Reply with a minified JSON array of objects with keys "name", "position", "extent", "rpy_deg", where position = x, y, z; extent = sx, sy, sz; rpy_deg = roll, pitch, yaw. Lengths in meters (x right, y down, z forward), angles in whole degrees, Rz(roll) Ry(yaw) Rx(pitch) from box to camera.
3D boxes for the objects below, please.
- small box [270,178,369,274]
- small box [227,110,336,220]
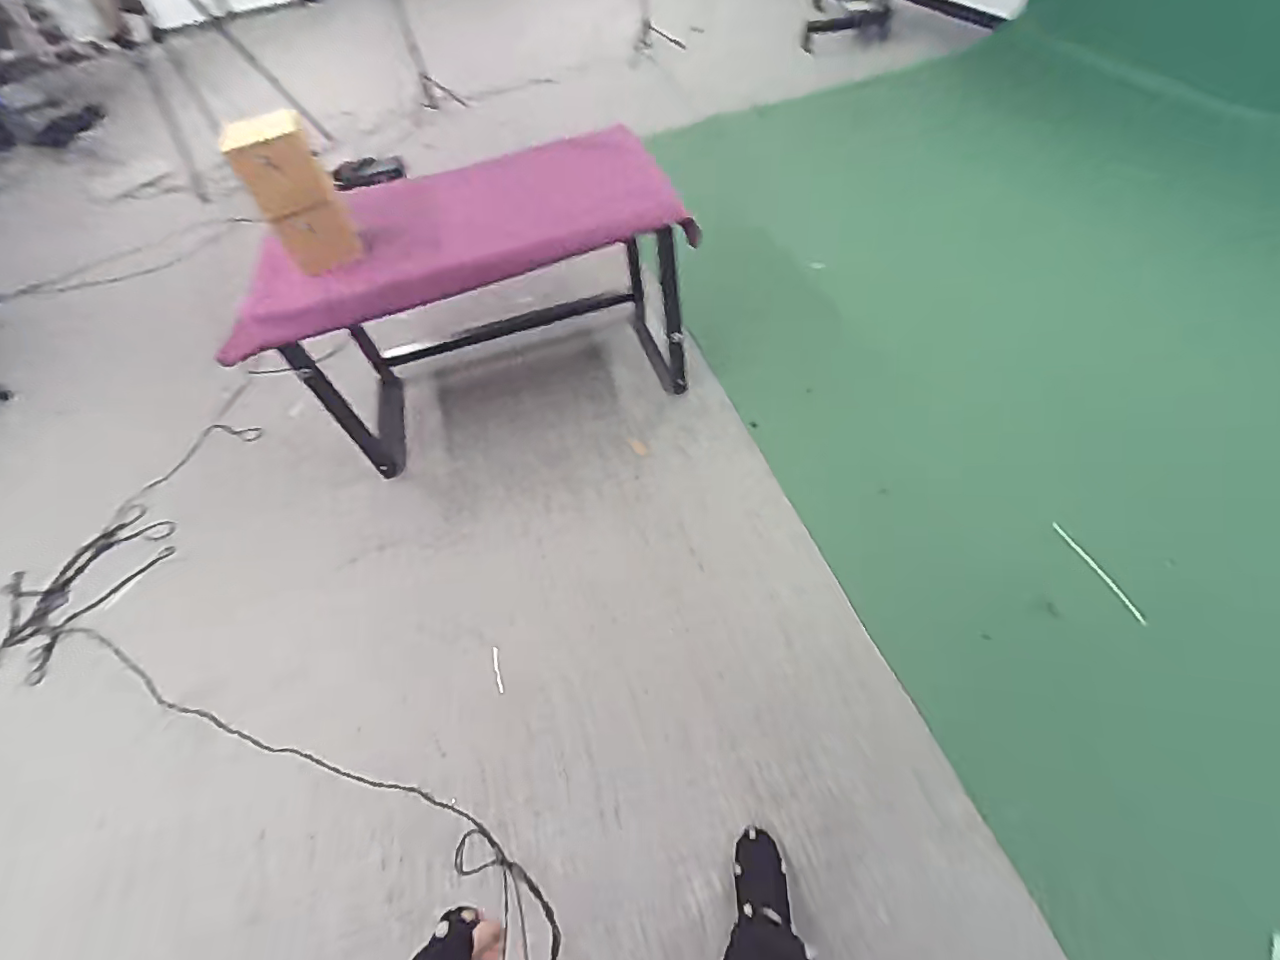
[{"name":"small box","position":[-0.882,-0.701,1.502],"extent":[0.179,0.176,0.168],"rpy_deg":[-20,54,-7]},{"name":"small box","position":[-0.896,-0.795,1.371],"extent":[0.179,0.176,0.168],"rpy_deg":[-22,55,-7]}]
